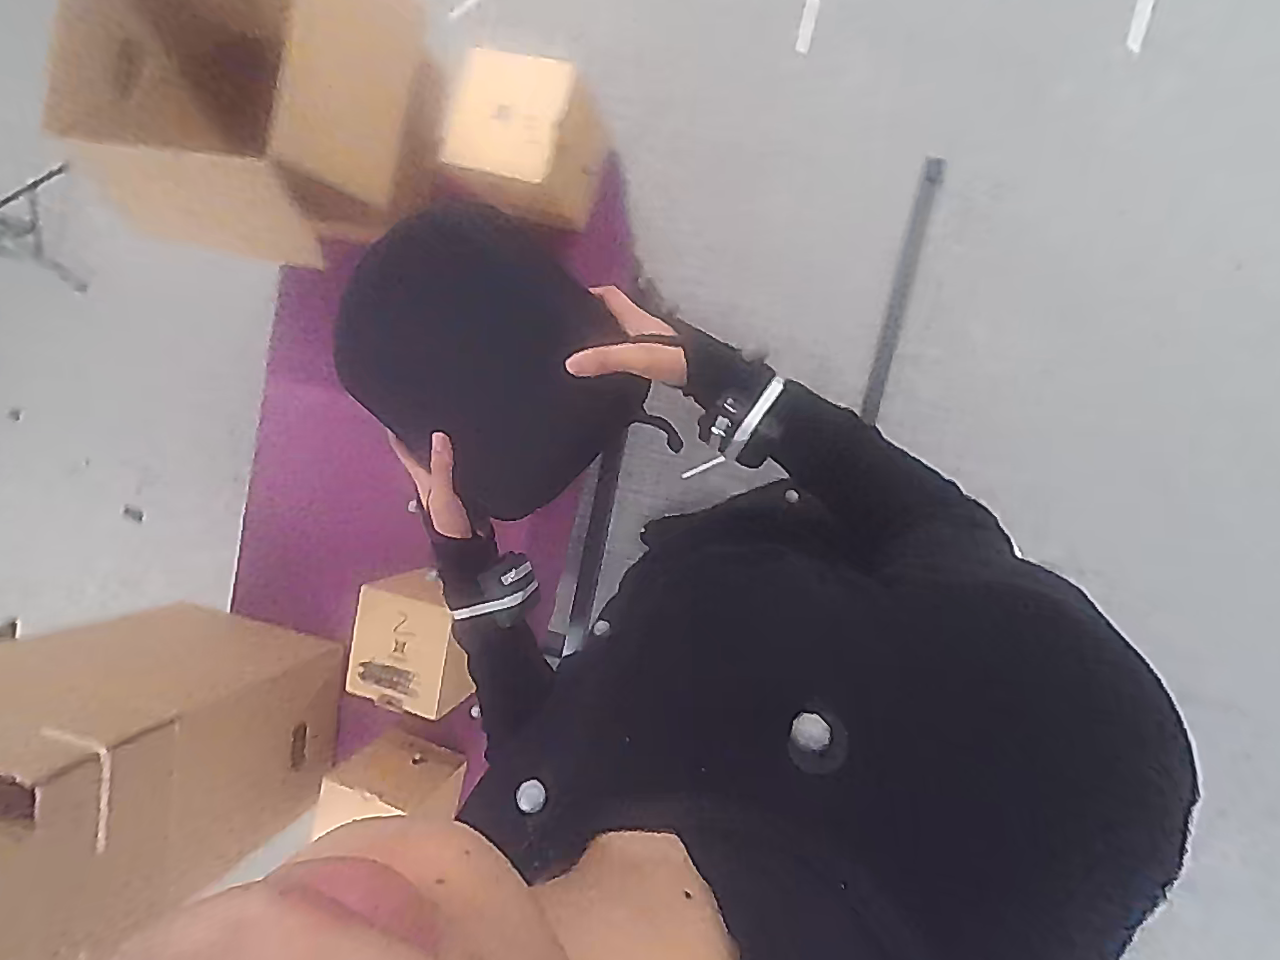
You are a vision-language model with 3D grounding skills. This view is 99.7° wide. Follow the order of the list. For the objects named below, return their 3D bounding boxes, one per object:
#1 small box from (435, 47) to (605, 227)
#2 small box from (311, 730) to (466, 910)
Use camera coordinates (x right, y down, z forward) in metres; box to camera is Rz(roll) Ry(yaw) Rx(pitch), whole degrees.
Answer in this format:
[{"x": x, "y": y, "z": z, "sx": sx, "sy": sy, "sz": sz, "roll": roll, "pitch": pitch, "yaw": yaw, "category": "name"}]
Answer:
[{"x": -0.177, "y": -0.518, "z": 0.839, "sx": 0.179, "sy": 0.176, "sz": 0.168, "roll": 19, "pitch": 97, "yaw": 13, "category": "small box"}, {"x": -0.427, "y": 0.576, "z": 0.941, "sx": 0.168, "sy": 0.176, "sz": 0.179, "roll": 13, "pitch": 94, "yaw": 13, "category": "small box"}]
